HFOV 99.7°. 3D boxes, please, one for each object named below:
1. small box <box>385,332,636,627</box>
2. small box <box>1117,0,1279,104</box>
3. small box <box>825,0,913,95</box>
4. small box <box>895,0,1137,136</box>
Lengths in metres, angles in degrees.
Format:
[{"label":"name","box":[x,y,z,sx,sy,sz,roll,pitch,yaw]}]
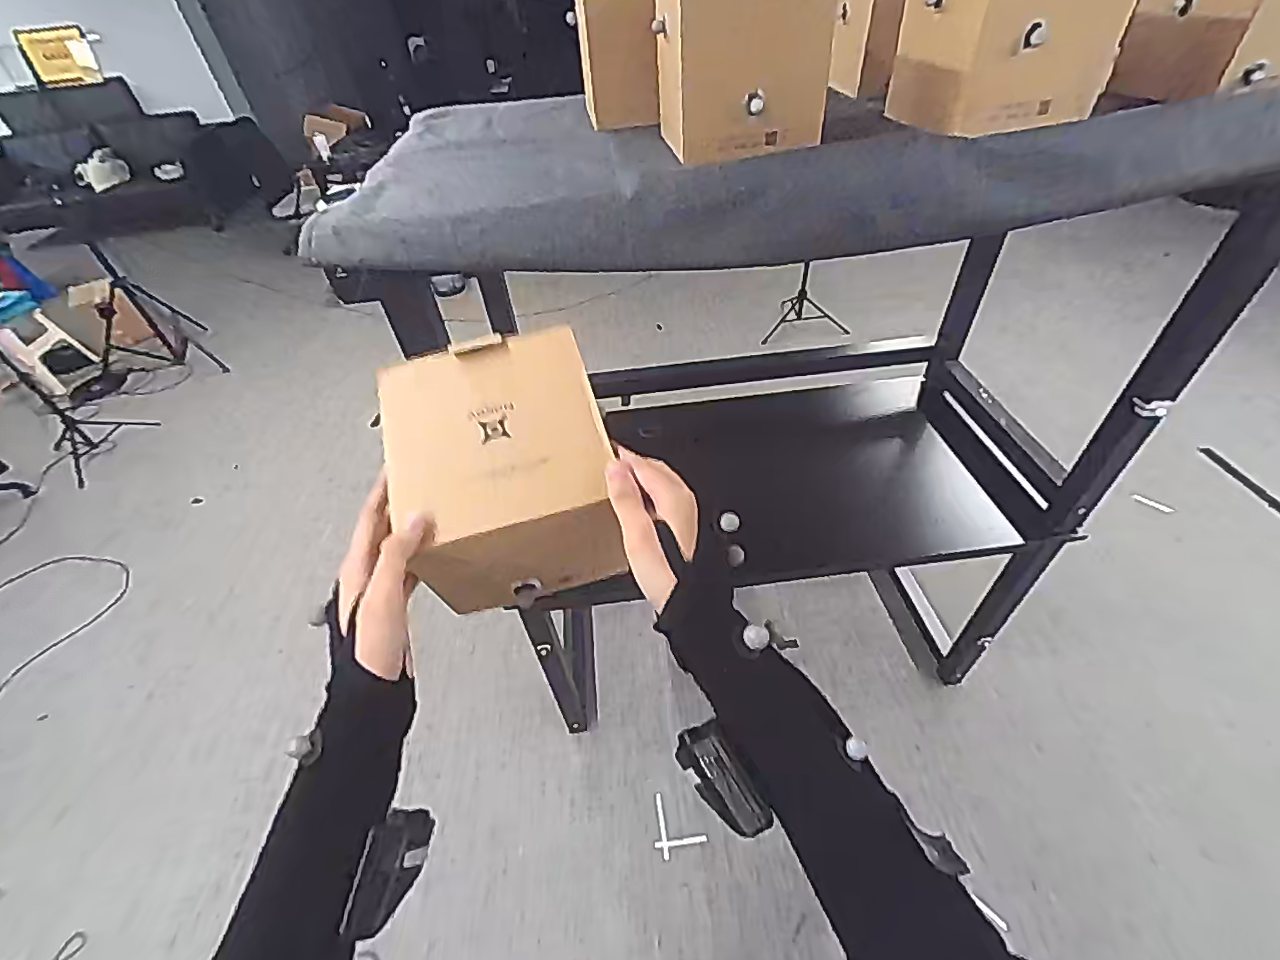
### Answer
[{"label":"small box","box":[-0.105,0.005,0.476,0.168,0.176,0.179,-16,60,-8]},{"label":"small box","box":[0.724,-0.548,0.624,0.168,0.176,0.179,-6,41,1]},{"label":"small box","box":[0.398,-0.701,0.821,0.168,0.176,0.179,-8,44,-2]},{"label":"small box","box":[0.425,-0.510,0.622,0.168,0.176,0.179,-8,42,-2]}]
